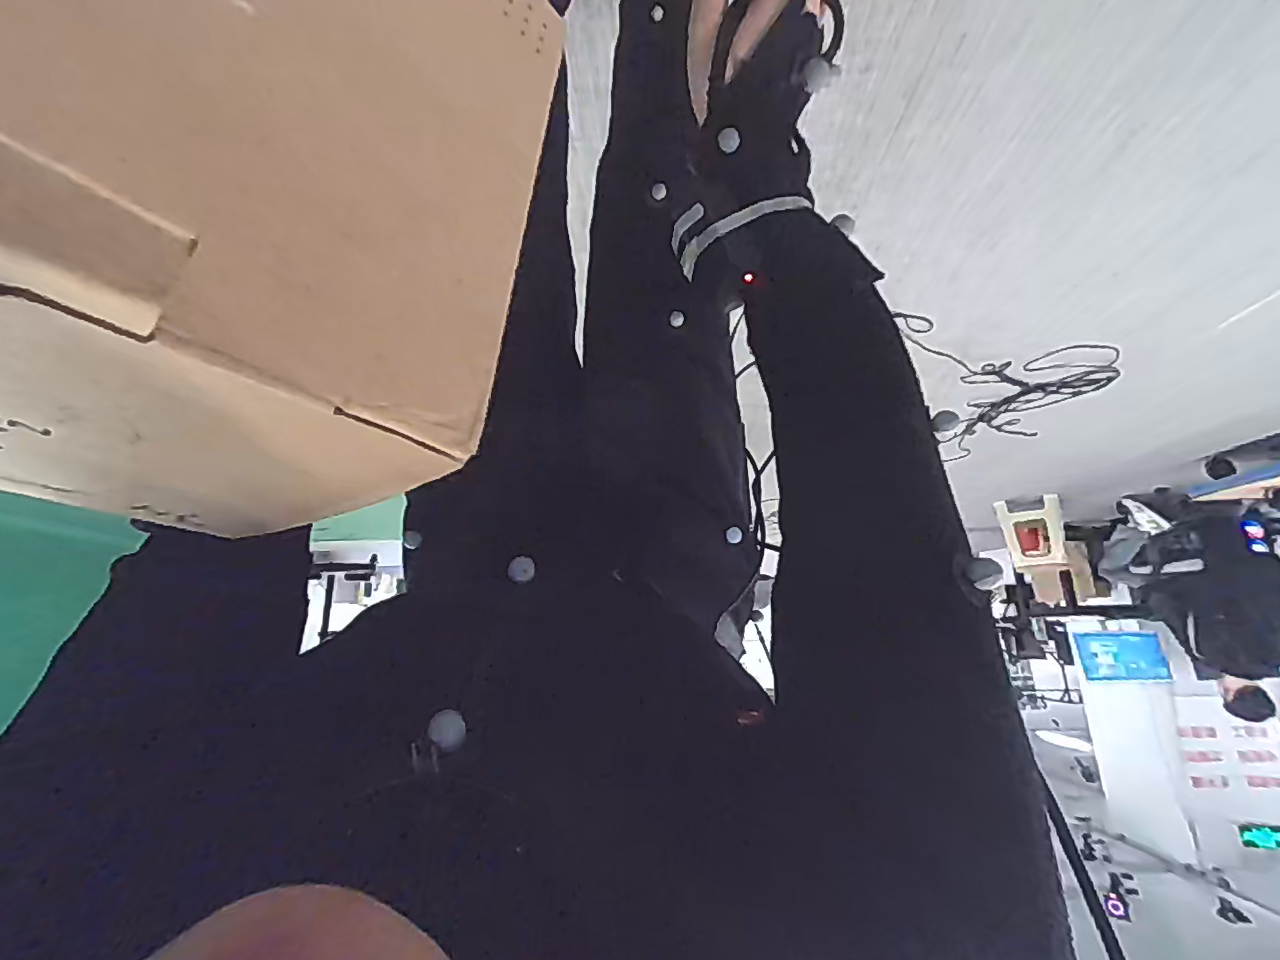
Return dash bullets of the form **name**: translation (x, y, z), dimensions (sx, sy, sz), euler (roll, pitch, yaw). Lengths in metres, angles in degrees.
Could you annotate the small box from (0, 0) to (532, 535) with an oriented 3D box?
- **small box**: translation (-0.147, -0.093, 0.149), dimensions (0.179, 0.176, 0.168), euler (-12, 154, 37)
